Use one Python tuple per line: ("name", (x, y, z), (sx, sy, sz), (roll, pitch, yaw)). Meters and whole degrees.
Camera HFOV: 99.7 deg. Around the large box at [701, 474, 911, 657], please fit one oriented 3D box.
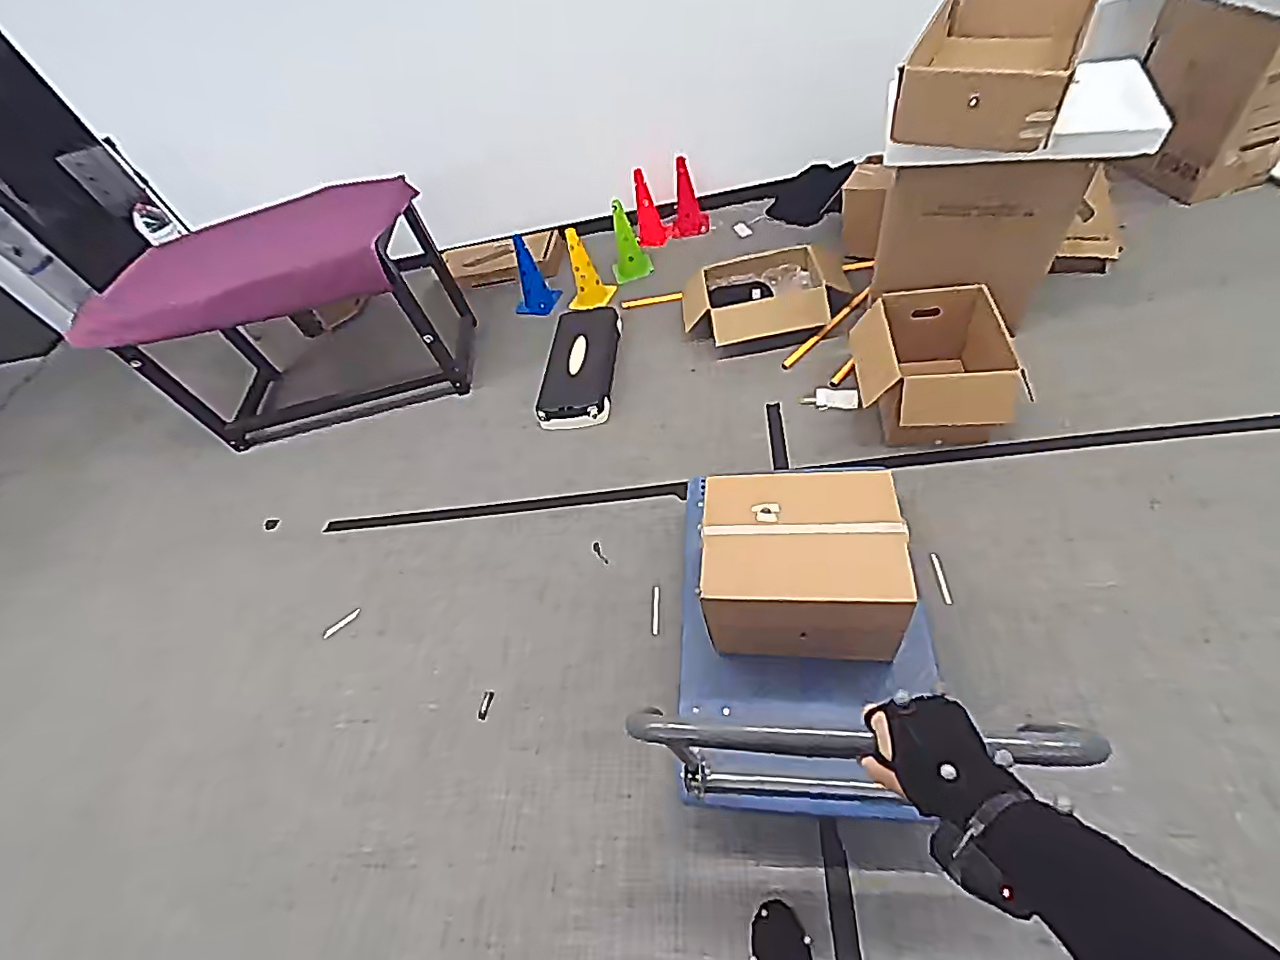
("large box", (0.367, 0.208, 1.258), (0.408, 0.320, 0.320), (-3, 51, 14))
